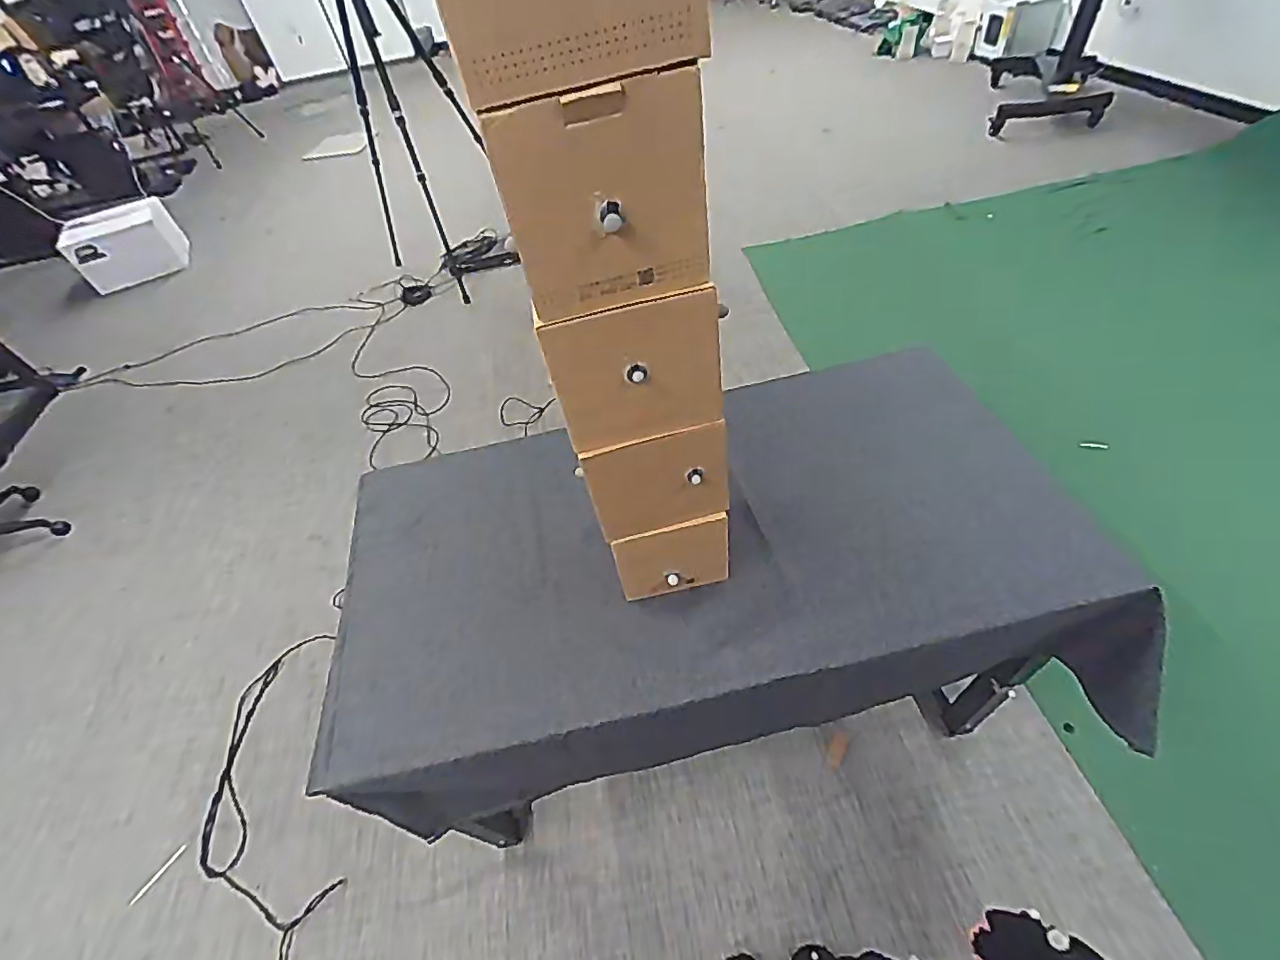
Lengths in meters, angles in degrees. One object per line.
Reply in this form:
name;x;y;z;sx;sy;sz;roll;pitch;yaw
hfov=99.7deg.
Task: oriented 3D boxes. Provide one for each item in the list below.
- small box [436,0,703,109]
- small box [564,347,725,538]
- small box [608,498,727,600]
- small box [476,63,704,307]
small box;-0.062;-0.388;0.381;0.179;0.176;0.168;-13;47;-1
small box;0.008;-0.048;0.730;0.179;0.176;0.168;-14;47;-2
small box;0.034;0.061;0.848;0.168;0.176;0.179;-13;48;0
small box;-0.042;-0.279;0.504;0.168;0.176;0.179;-14;47;-2
